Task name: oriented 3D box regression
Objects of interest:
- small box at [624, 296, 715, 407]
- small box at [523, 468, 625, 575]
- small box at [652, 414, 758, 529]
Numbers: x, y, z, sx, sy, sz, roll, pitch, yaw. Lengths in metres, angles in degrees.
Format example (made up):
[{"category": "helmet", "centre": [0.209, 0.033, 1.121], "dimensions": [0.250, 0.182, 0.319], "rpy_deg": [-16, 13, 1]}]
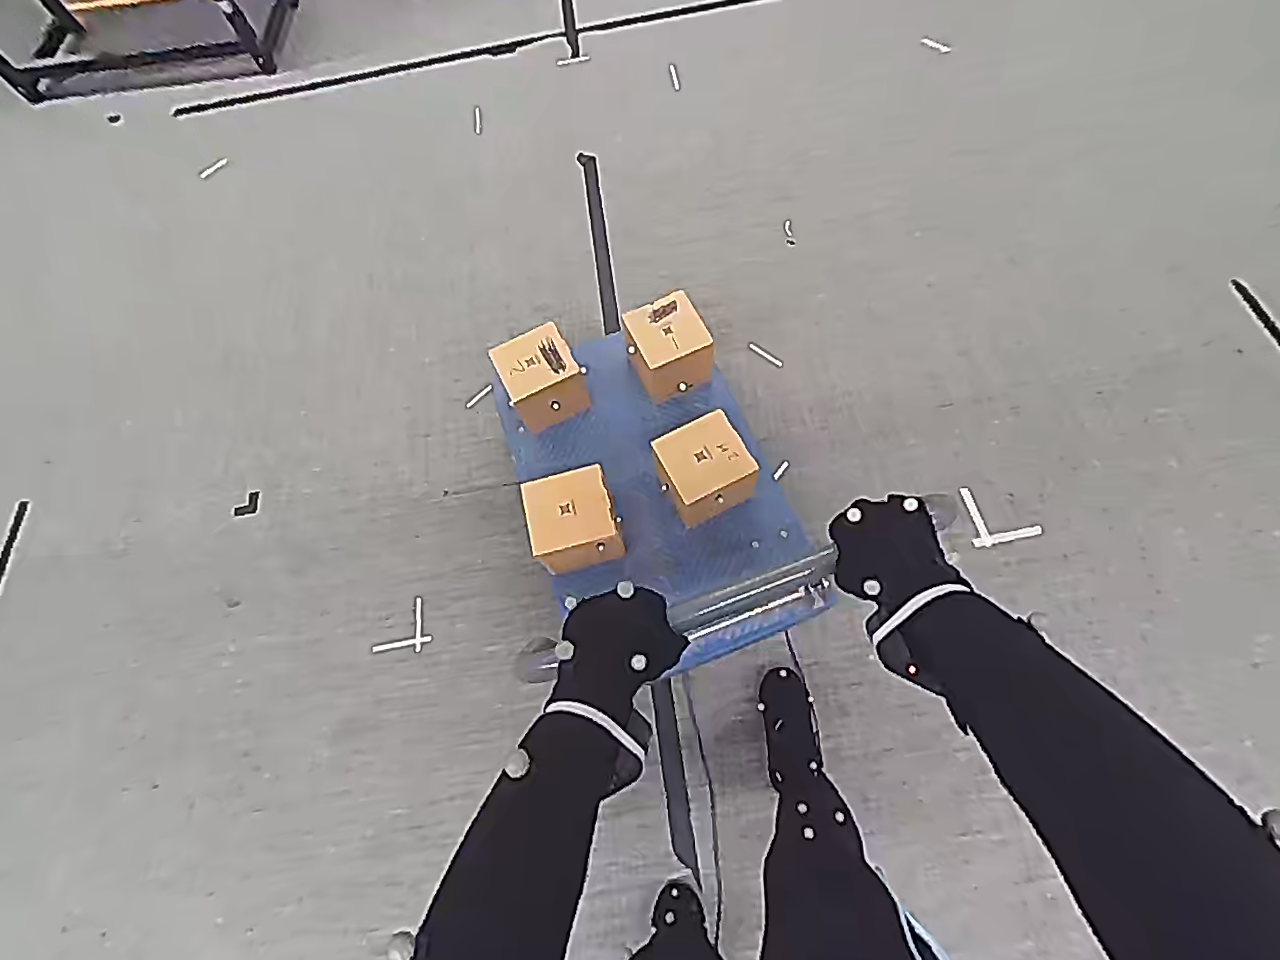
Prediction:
[{"category": "small box", "centre": [0.073, -0.315, 1.346], "dimensions": [0.168, 0.176, 0.179], "rpy_deg": [-24, 69, -5]}, {"category": "small box", "centre": [-0.142, 0.099, 1.196], "dimensions": [0.179, 0.176, 0.168], "rpy_deg": [-15, 67, -2]}, {"category": "small box", "centre": [0.144, -0.011, 1.214], "dimensions": [0.179, 0.176, 0.168], "rpy_deg": [-26, 68, -5]}]
